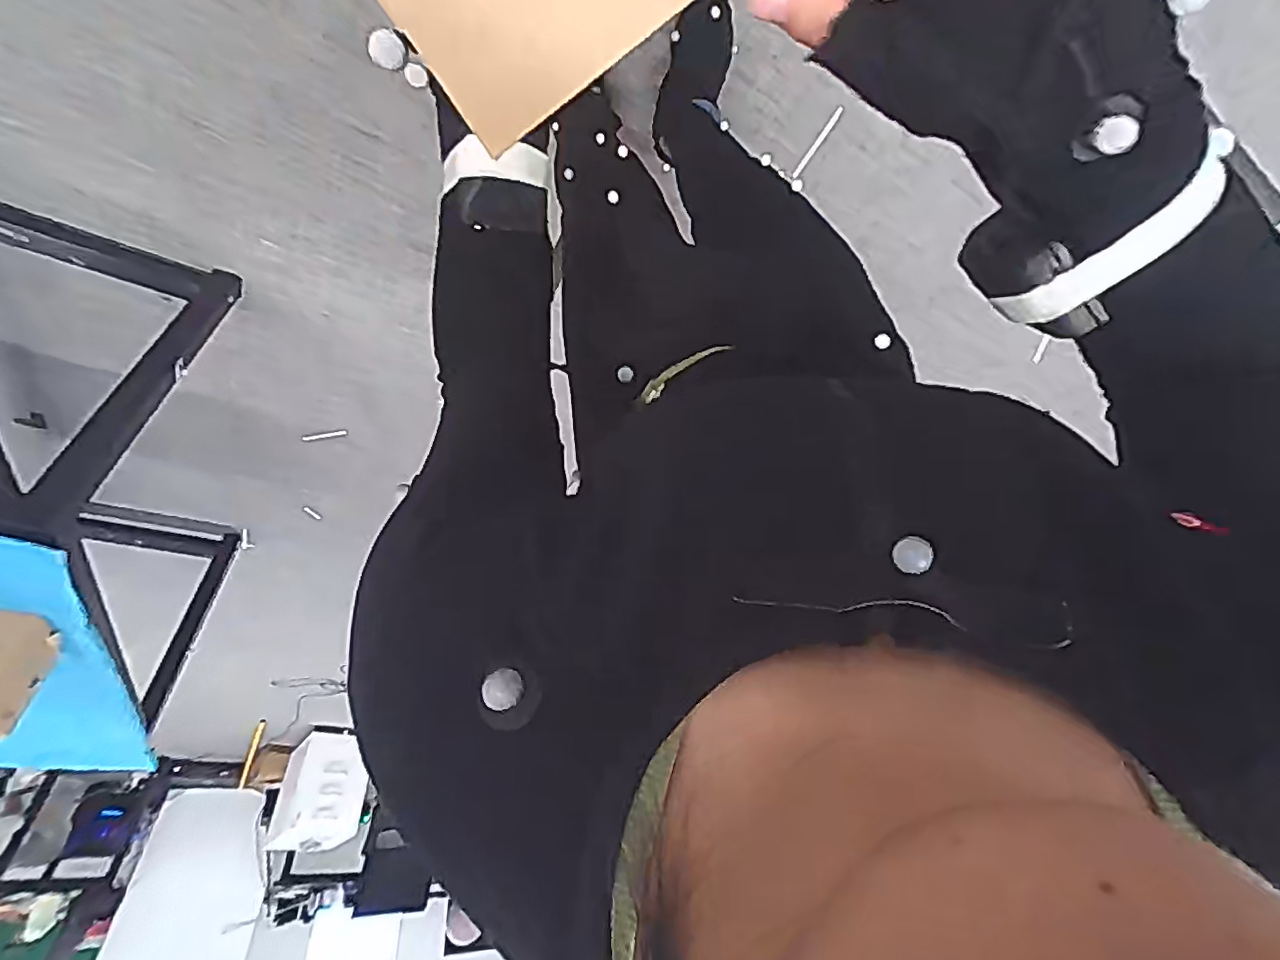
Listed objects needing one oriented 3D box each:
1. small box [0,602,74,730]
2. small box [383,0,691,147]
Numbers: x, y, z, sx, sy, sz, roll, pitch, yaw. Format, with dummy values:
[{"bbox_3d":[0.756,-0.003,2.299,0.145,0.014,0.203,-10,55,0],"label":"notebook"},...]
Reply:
[{"bbox_3d":[-1.146,0.318,0.924,0.179,0.176,0.168,16,135,-24],"label":"small box"},{"bbox_3d":[-0.065,-0.286,0.218,0.168,0.176,0.179,-35,138,6],"label":"small box"}]
